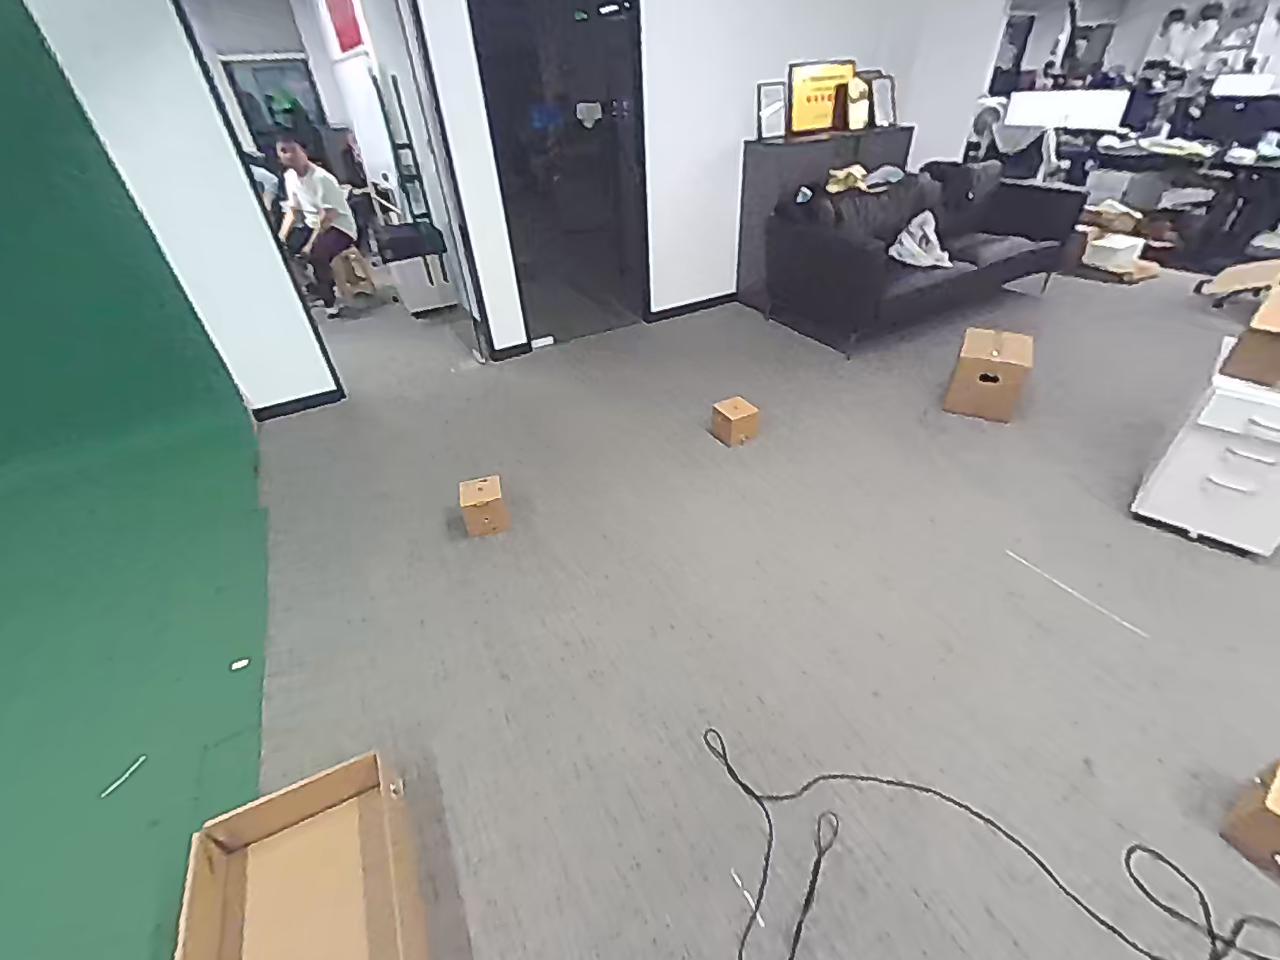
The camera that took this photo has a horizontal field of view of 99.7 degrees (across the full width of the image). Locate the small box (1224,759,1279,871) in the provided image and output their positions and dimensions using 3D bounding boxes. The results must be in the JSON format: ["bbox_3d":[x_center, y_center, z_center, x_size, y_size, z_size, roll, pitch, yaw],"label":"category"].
[{"bbox_3d":[1.491,0.773,1.221,0.179,0.176,0.168,-27,43,-27],"label":"small box"}]

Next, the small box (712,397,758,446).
[{"bbox_3d":[0.473,-0.294,2.729,0.168,0.176,0.179,-21,41,-20],"label":"small box"}]

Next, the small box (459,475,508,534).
[{"bbox_3d":[-0.655,0.109,2.268,0.168,0.176,0.179,-12,38,-12],"label":"small box"}]
